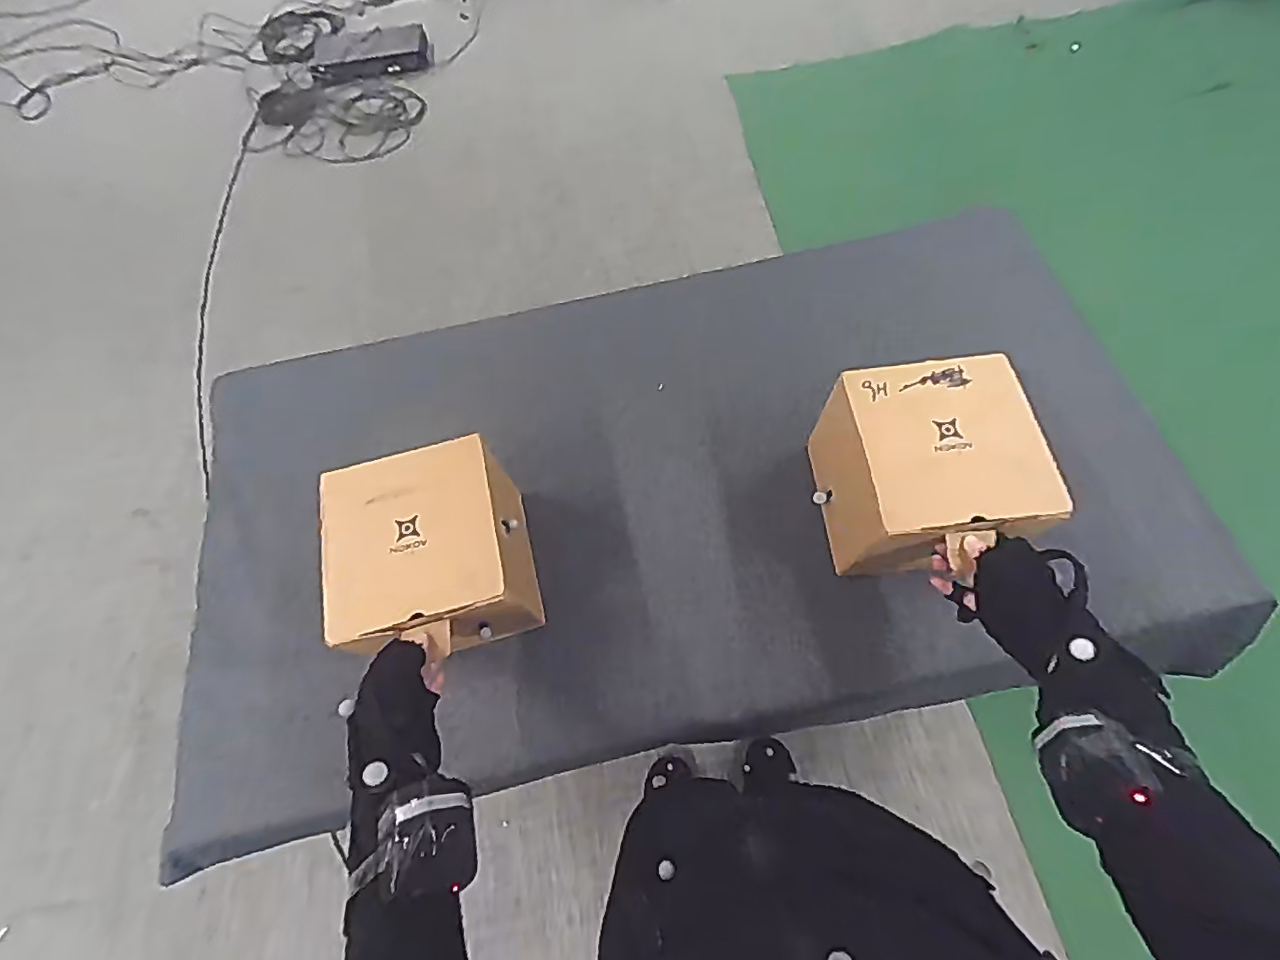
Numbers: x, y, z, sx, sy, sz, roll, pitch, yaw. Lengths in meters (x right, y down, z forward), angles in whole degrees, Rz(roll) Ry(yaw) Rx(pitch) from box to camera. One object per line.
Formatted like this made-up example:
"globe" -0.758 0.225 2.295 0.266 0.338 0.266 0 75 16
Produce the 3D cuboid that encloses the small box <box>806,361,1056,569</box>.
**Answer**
"small box" 0.293 -0.004 0.592 0.168 0.176 0.179 -6 68 1

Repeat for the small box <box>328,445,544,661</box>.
"small box" -0.214 0.092 0.599 0.168 0.176 0.179 -16 66 -4
